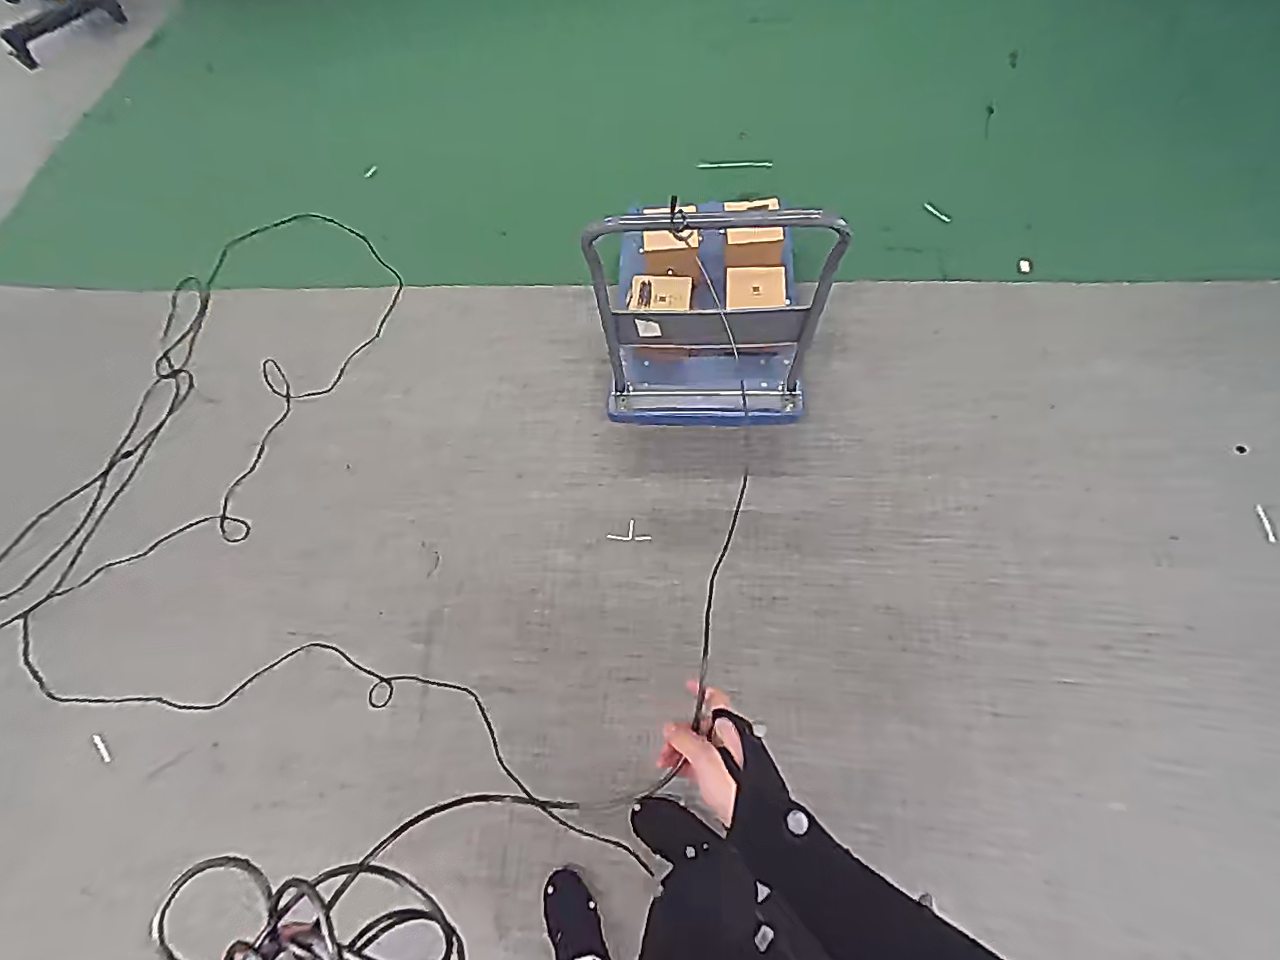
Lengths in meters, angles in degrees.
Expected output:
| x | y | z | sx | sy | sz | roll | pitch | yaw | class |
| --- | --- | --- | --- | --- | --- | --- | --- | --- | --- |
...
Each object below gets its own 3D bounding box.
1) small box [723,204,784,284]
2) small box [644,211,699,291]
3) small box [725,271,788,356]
| x | y | z | sx | sy | sz | roll | pitch | yaw | class |
| --- | --- | --- | --- | --- | --- | --- | --- | --- | --- |
| 0.353 | -0.736 | 1.708 | 0.168 | 0.176 | 0.179 | -3 | 66 | 5 | small box |
| 0.102 | -0.722 | 1.728 | 0.168 | 0.176 | 0.179 | -2 | 65 | 4 | small box |
| 0.338 | -0.490 | 1.597 | 0.168 | 0.176 | 0.179 | 2 | 66 | 6 | small box |
